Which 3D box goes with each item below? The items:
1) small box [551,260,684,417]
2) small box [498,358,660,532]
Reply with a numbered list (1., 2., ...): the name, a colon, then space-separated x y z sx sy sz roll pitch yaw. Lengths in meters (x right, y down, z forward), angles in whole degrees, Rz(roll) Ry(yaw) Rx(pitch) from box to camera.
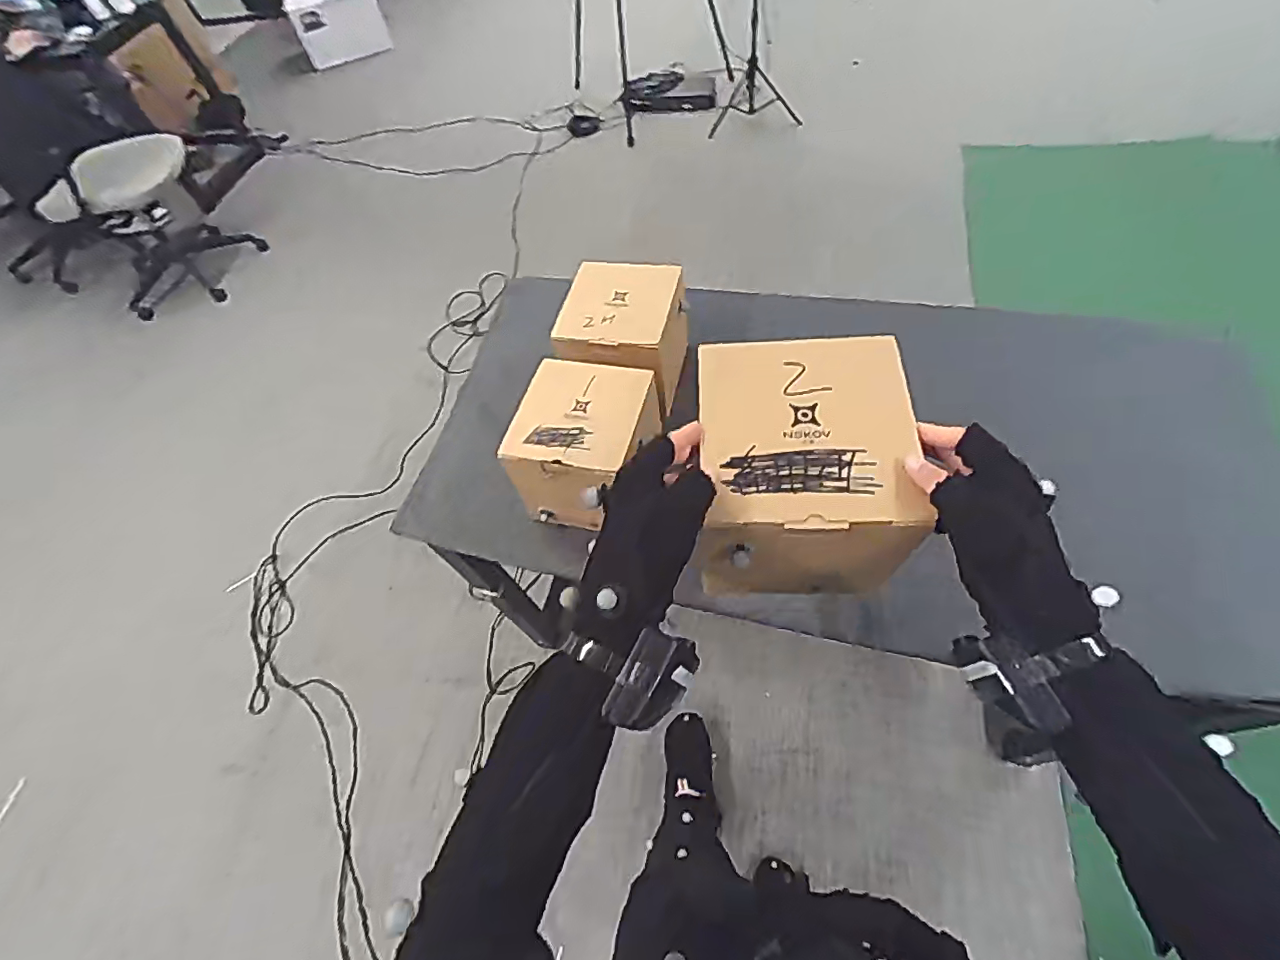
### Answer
1. small box: -0.025 -0.228 0.879 0.168 0.176 0.179 8 60 13
2. small box: -0.072 -0.046 0.772 0.168 0.176 0.179 9 58 13
